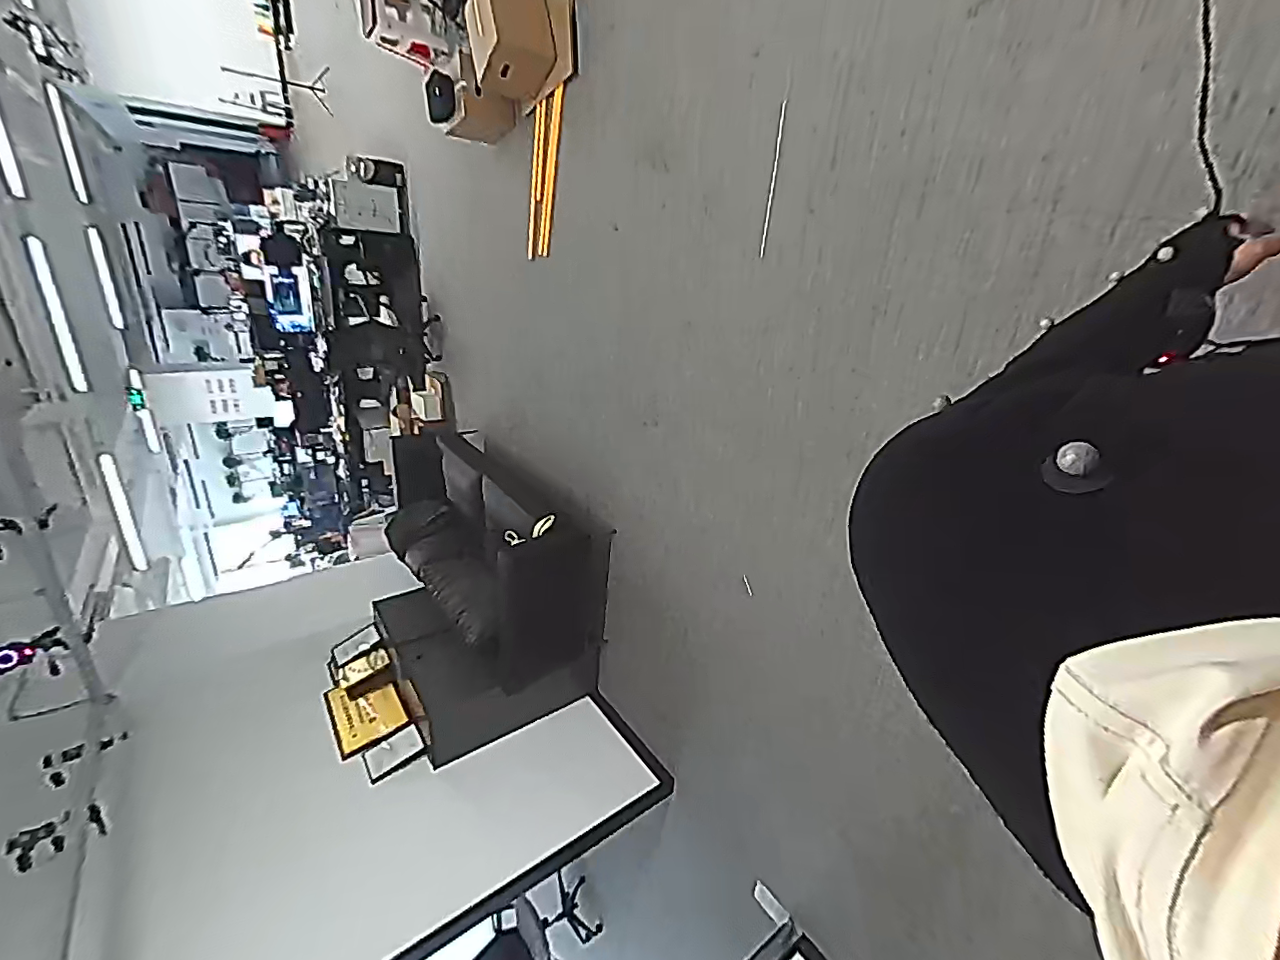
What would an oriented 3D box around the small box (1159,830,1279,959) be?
[{"bbox_3d":[1.128,0.809,1.003,0.168,0.176,0.179,33,127,45],"label":"small box"}]
